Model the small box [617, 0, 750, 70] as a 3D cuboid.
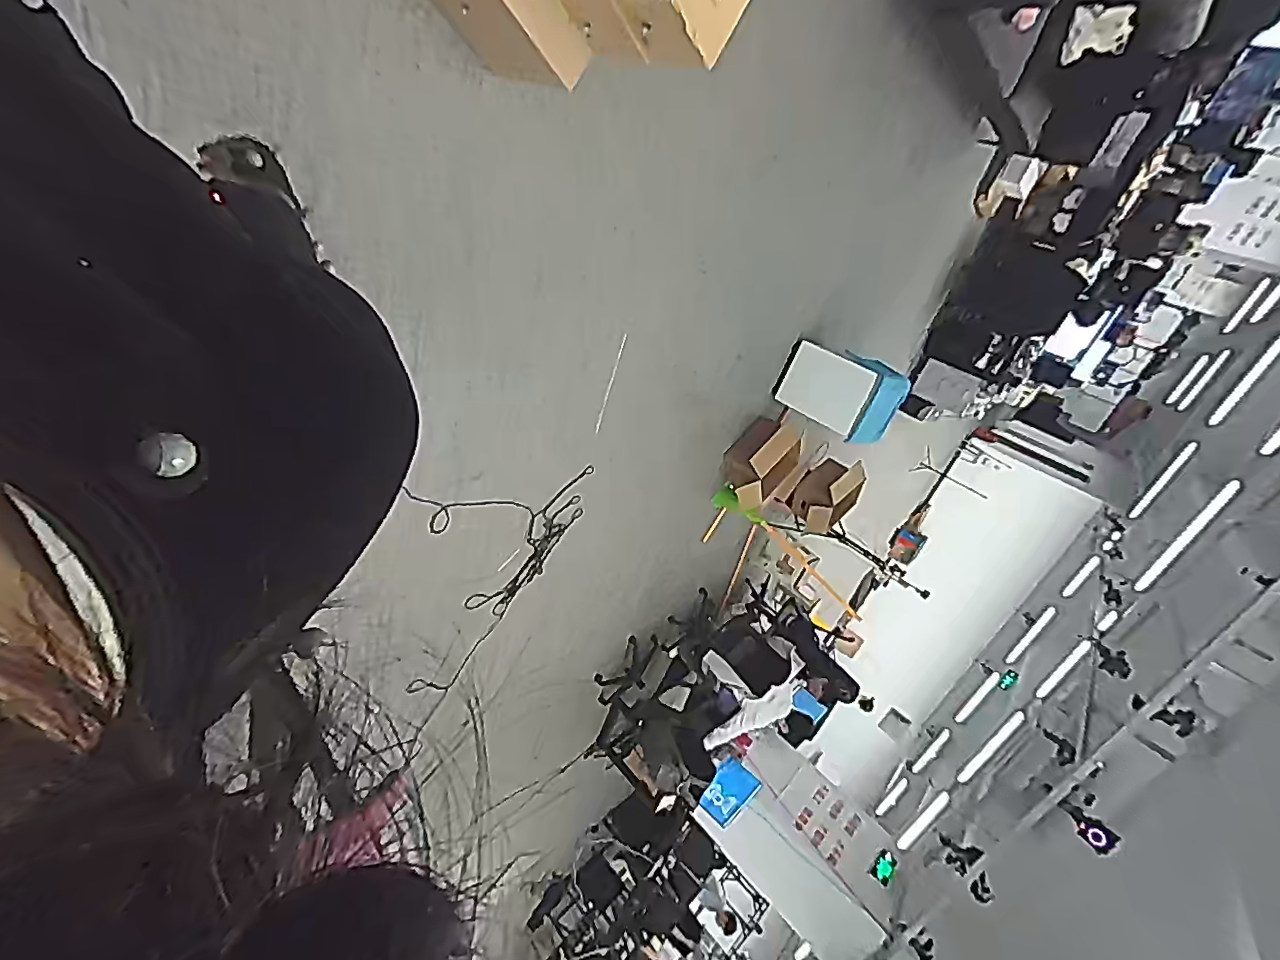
[{"bbox_3d":[0.085,-0.927,1.015,0.179,0.176,0.168,-59,149,9],"label":"small box"}]
